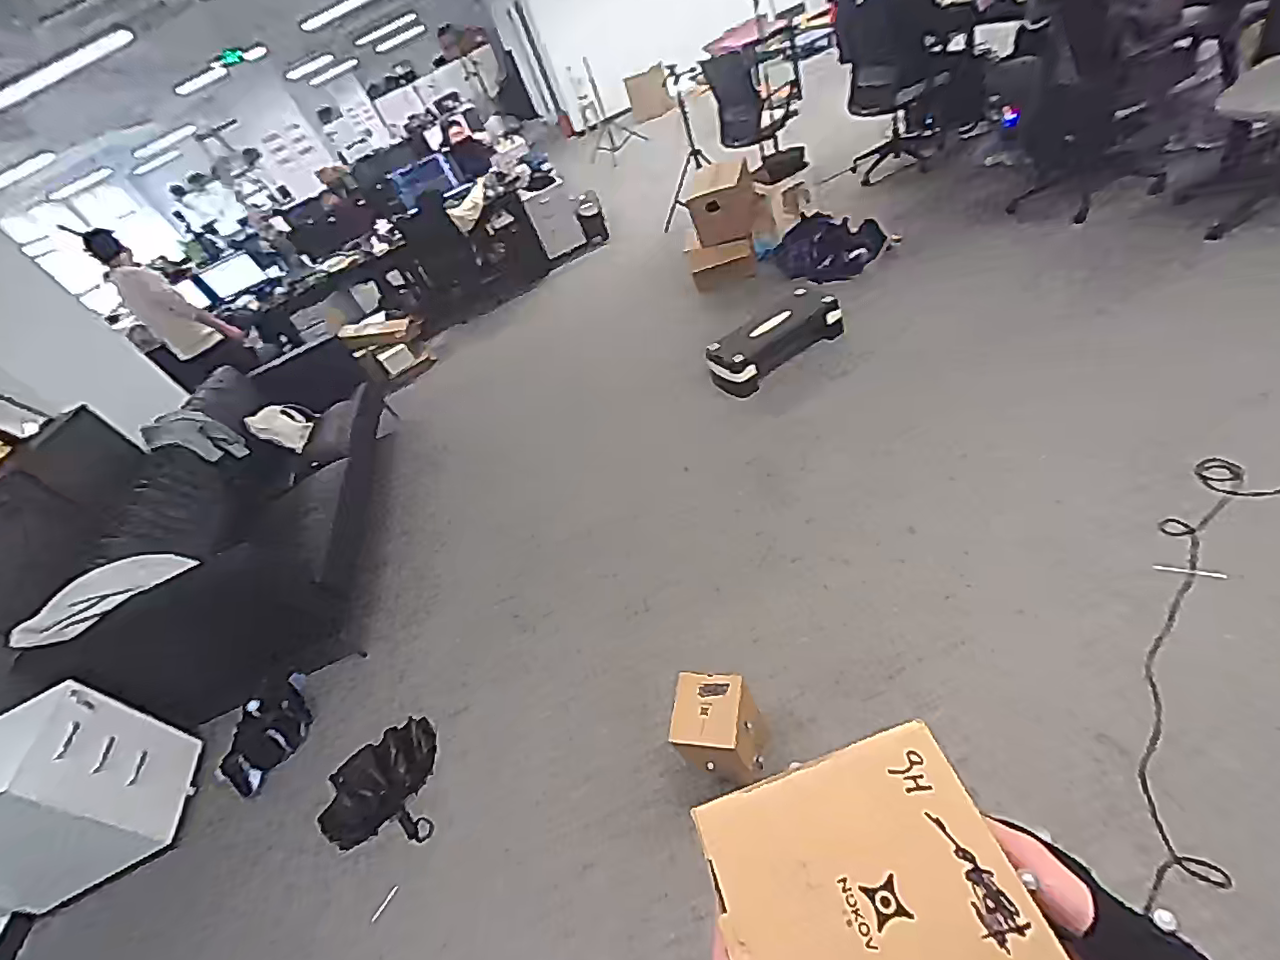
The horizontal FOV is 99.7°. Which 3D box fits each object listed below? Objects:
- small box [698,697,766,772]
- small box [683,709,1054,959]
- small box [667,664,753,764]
[{"bbox_3d":[0.231,0.687,1.495,0.179,0.176,0.168,7,51,32],"label":"small box"},{"bbox_3d":[0.151,0.297,0.397,0.179,0.176,0.168,-22,53,1],"label":"small box"},{"bbox_3d":[0.185,0.590,1.367,0.168,0.176,0.179,-5,46,25],"label":"small box"}]
